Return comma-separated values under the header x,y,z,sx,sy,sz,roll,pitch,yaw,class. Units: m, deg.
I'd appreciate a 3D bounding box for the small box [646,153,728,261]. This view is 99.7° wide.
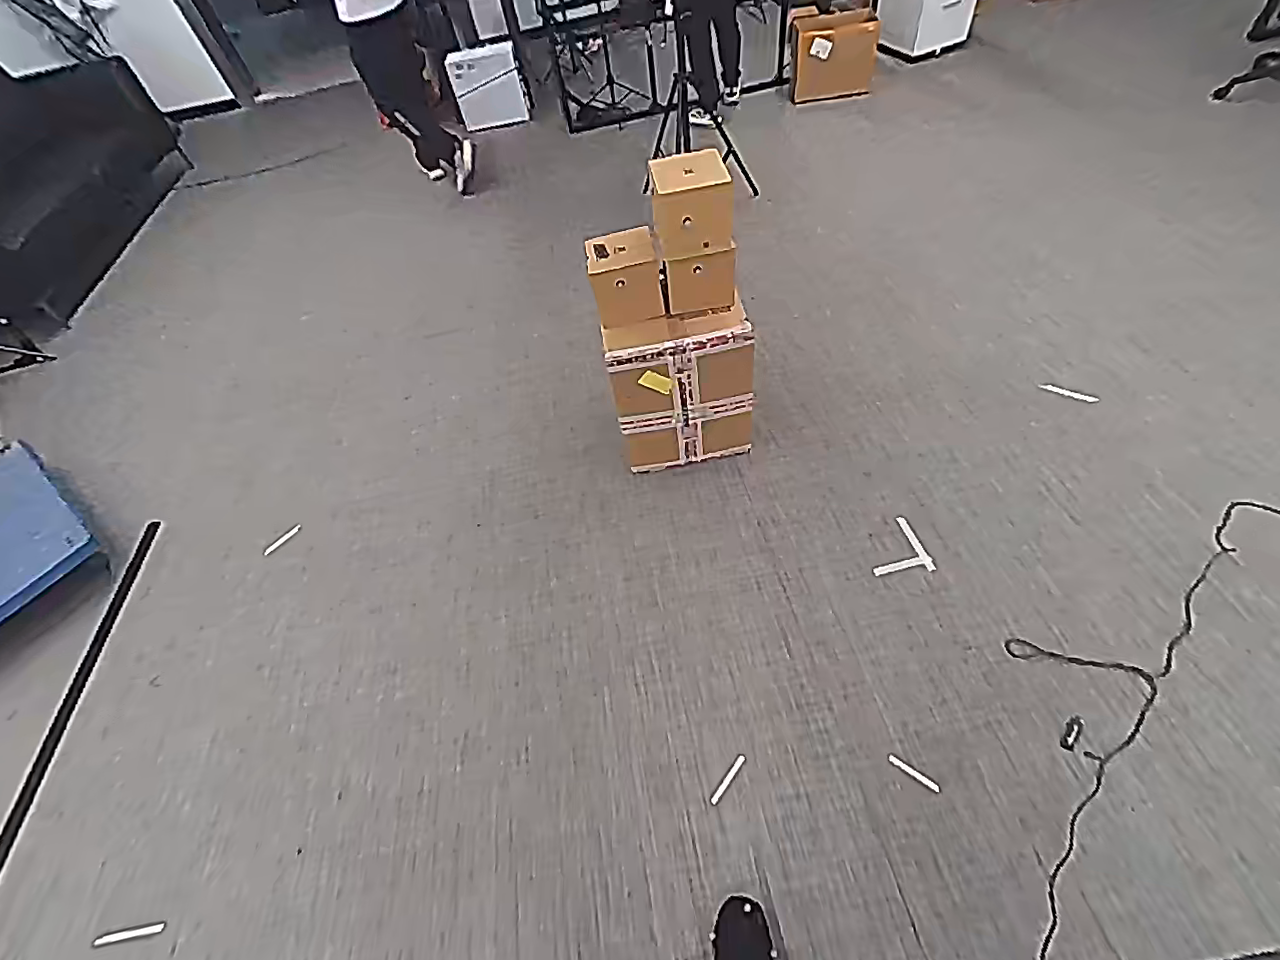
x,y,z,sx,sy,sz,roll,pitch,yaw,class
0.115,-0.647,1.298,0.168,0.176,0.179,-11,52,1,small box
